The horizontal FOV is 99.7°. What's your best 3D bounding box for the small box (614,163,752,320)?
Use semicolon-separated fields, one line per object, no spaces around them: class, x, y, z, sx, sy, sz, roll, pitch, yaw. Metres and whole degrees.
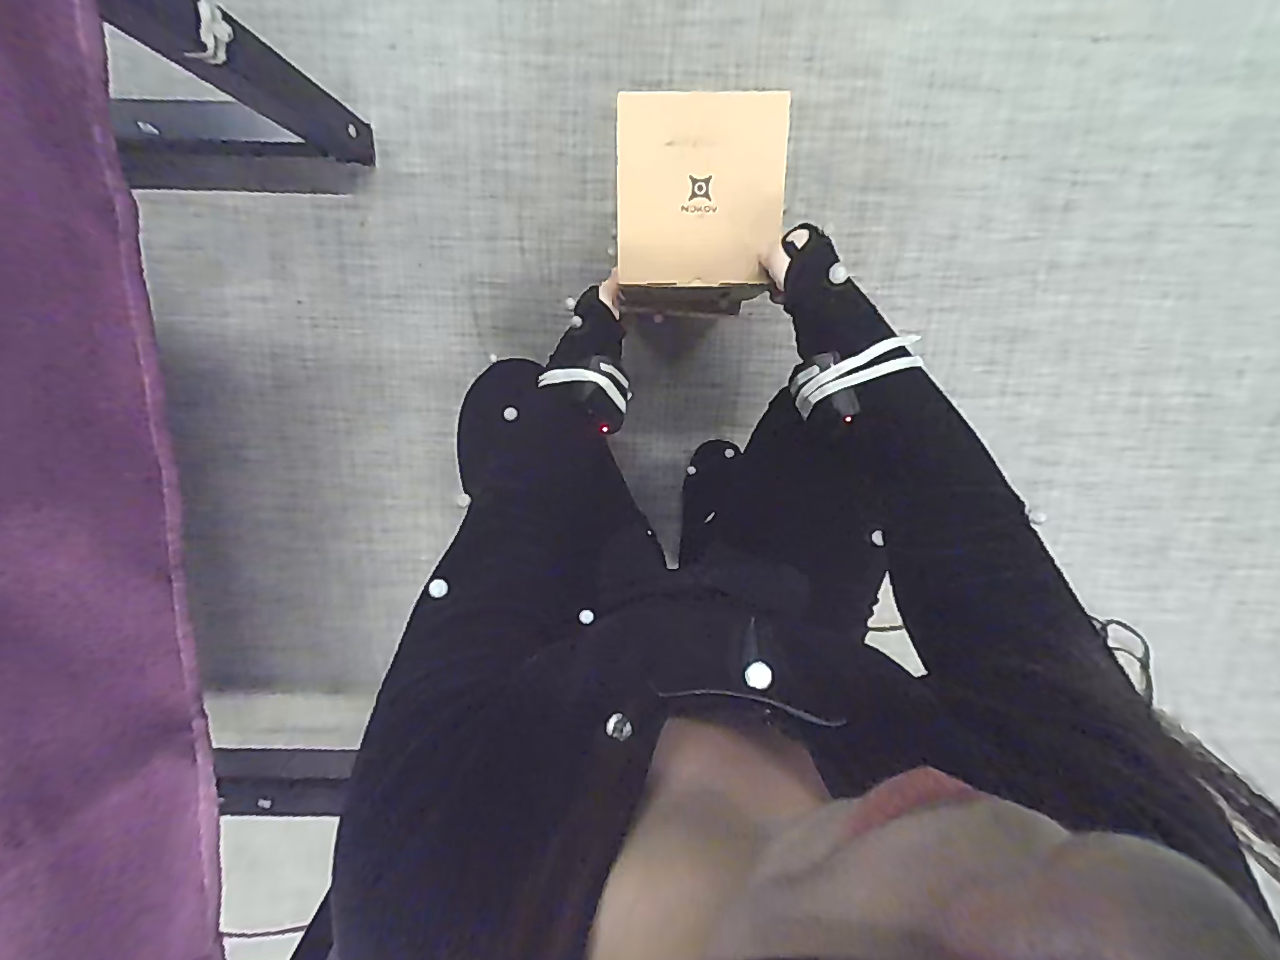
small box;0.053;-0.326;0.775;0.168;0.176;0.179;4;104;-2
